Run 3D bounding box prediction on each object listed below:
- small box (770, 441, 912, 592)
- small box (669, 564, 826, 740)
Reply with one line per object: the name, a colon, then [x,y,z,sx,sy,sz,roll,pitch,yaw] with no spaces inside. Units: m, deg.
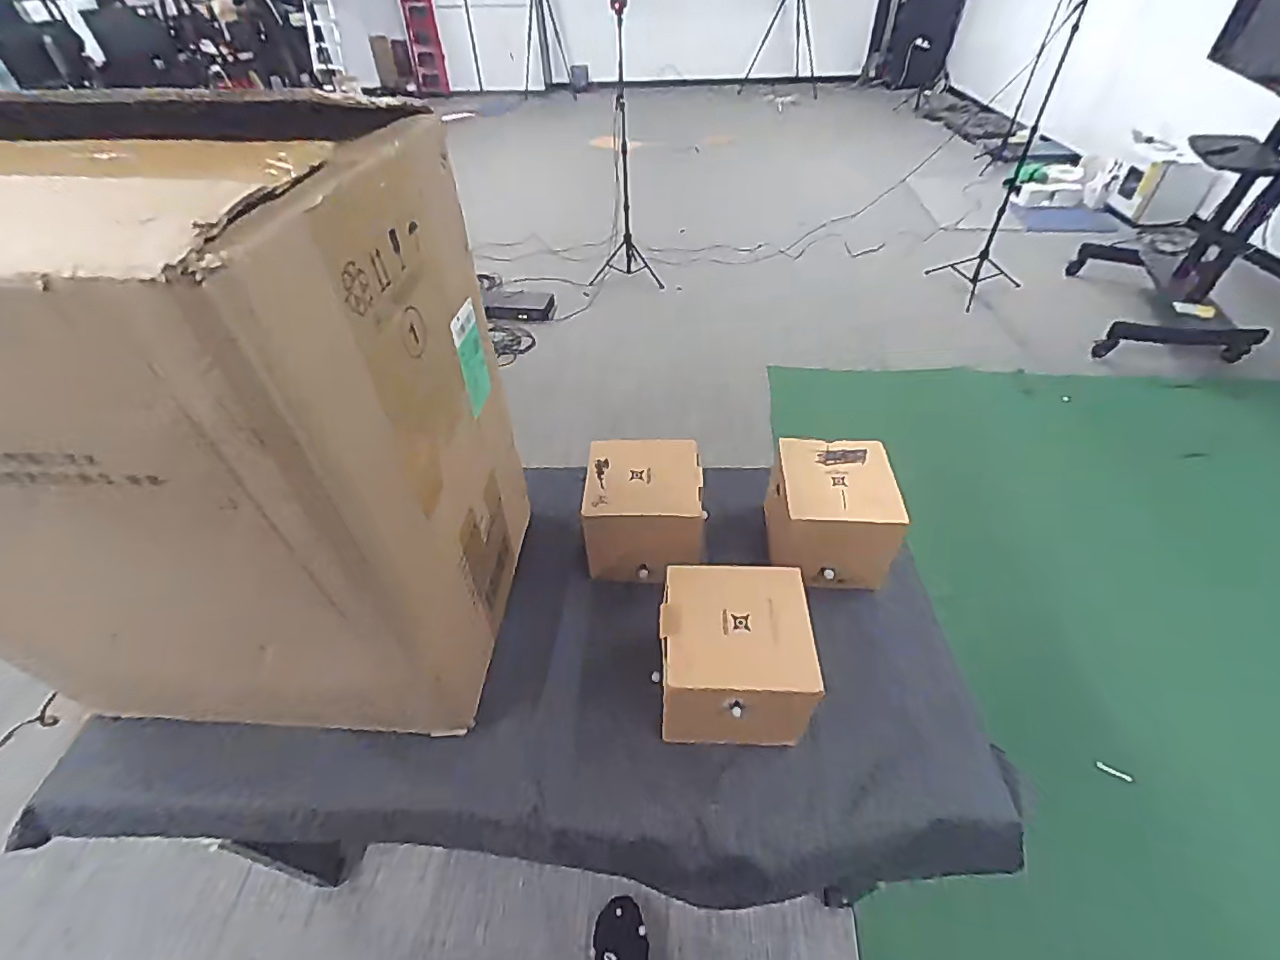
small box: [0.309,0.057,0.876,0.168,0.176,0.179,2,45,5]
small box: [0.126,0.228,0.712,0.179,0.176,0.168,1,46,2]
